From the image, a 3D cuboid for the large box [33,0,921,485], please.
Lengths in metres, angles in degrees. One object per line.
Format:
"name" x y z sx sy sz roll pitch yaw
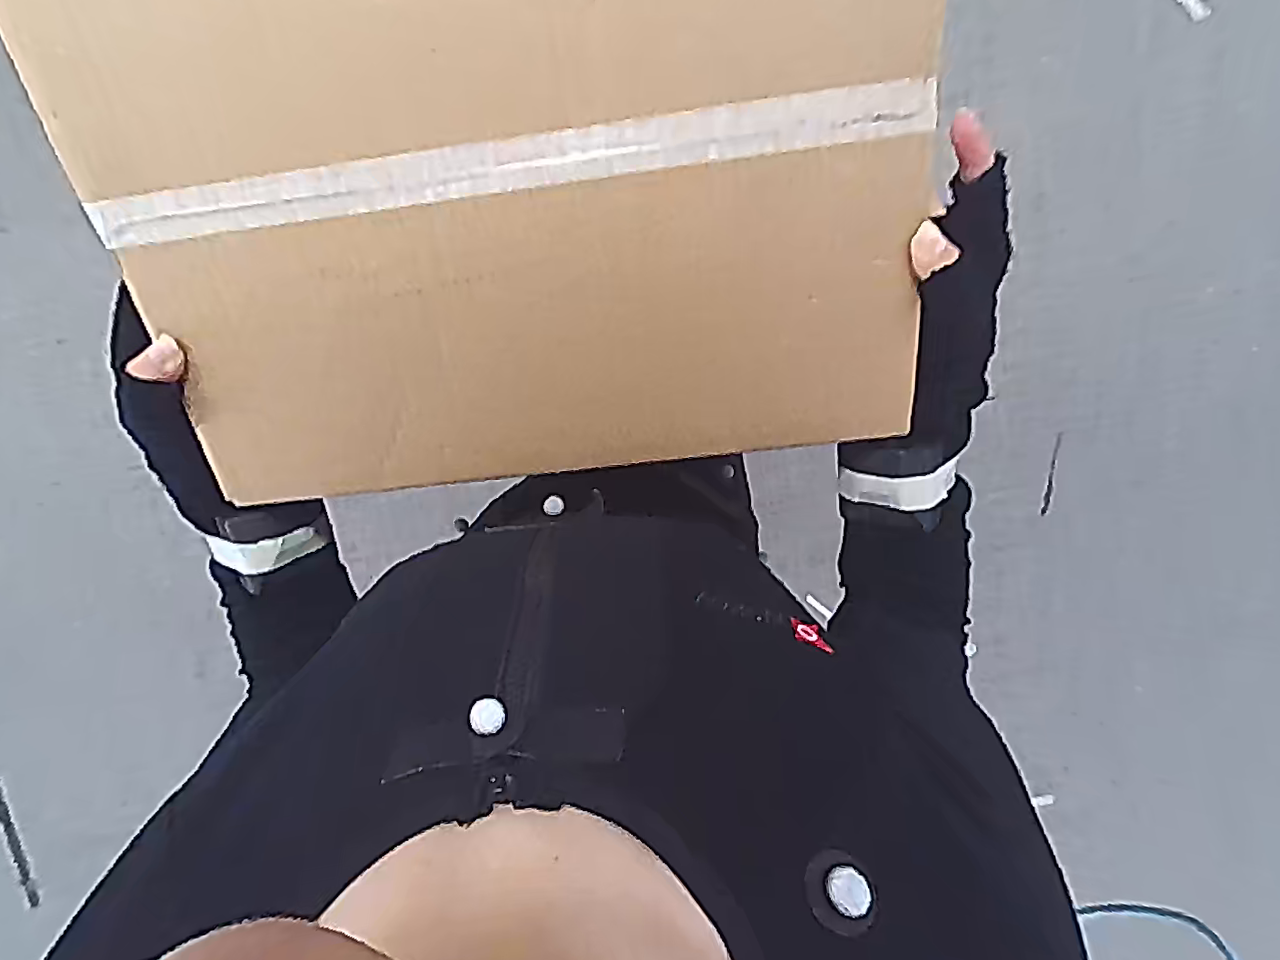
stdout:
"large box" -0.067 -0.217 0.404 0.408 0.320 0.320 -6 114 3
